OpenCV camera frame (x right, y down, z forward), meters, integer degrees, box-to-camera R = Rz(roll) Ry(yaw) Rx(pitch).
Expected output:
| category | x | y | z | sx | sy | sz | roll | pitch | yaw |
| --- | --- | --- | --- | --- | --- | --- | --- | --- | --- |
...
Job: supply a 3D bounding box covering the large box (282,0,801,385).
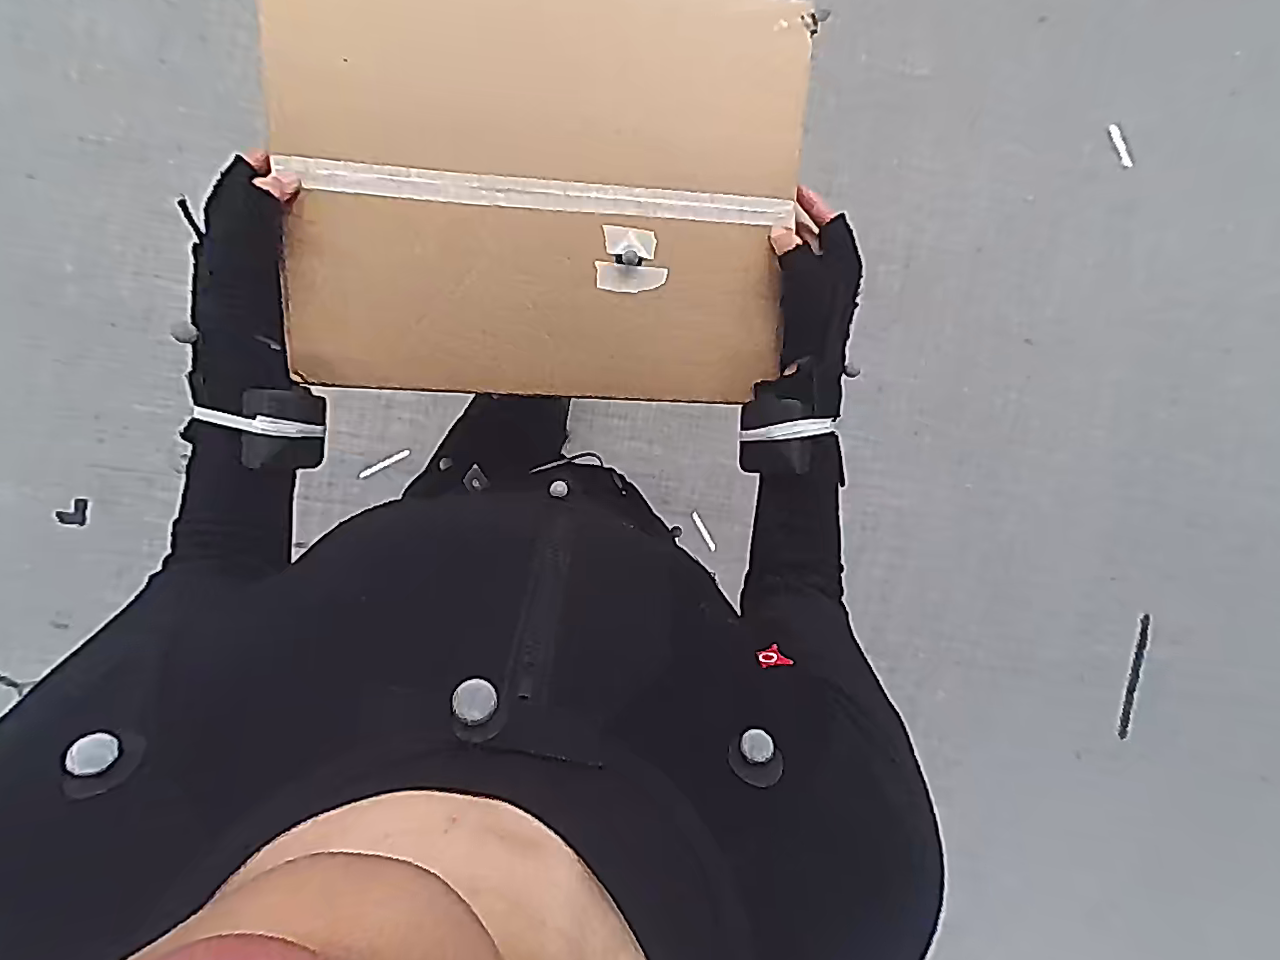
| category | x | y | z | sx | sy | sz | roll | pitch | yaw |
| --- | --- | --- | --- | --- | --- | --- | --- | --- | --- |
| large box | -0.089 | -0.269 | 0.587 | 0.408 | 0.320 | 0.320 | 1 | 103 | -8 |
